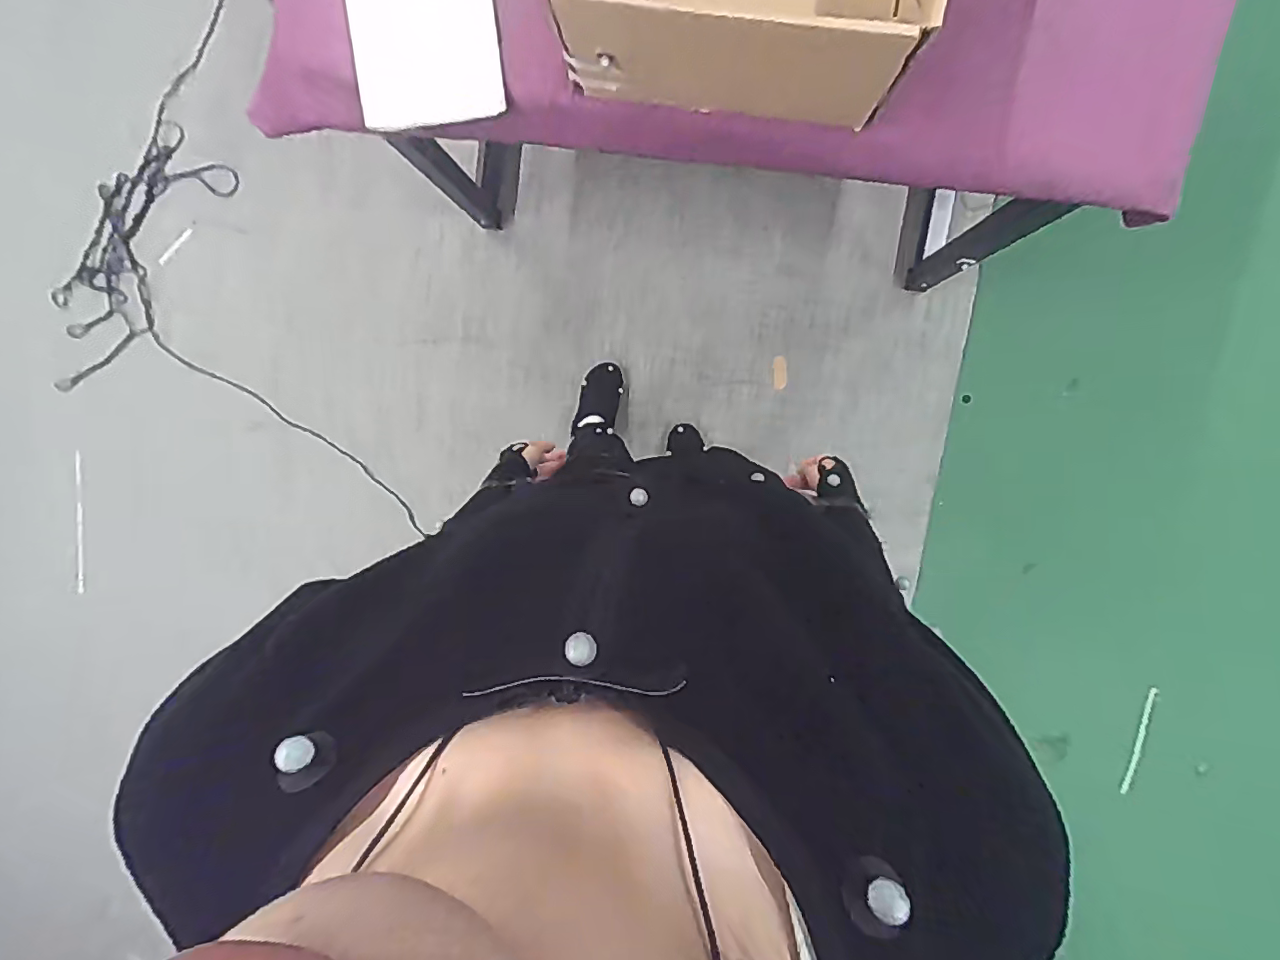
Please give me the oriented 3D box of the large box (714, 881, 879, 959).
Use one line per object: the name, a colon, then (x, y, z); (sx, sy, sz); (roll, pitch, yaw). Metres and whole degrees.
large box: (0.431, 1.375, 1.484); (0.408, 0.320, 0.320); (-6, 97, 4)
